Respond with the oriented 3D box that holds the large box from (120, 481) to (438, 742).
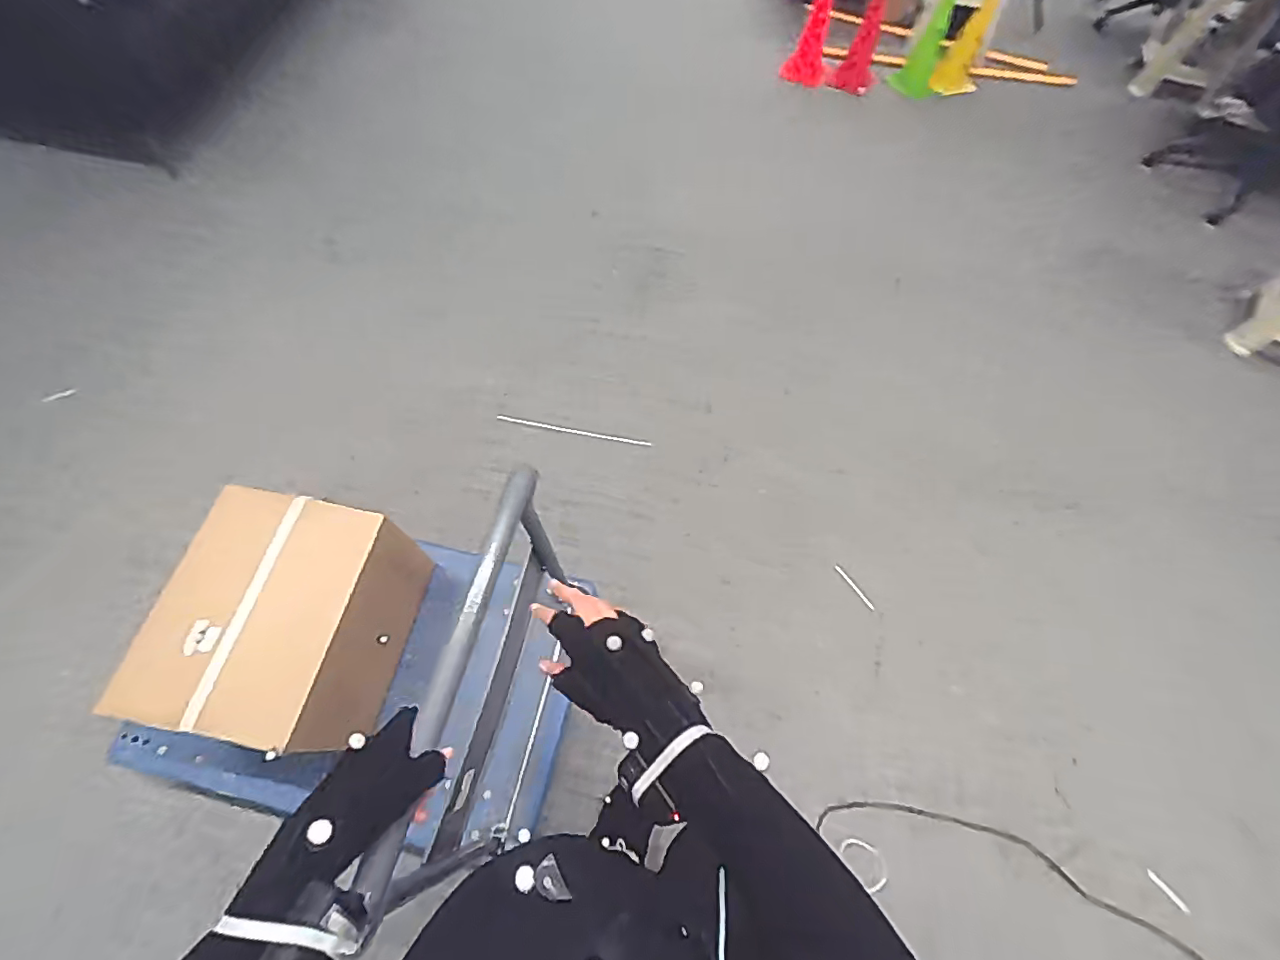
[{"bbox_3d":[-0.645,0.264,1.064,0.320,0.320,0.408,11,65,3],"label":"large box"}]
